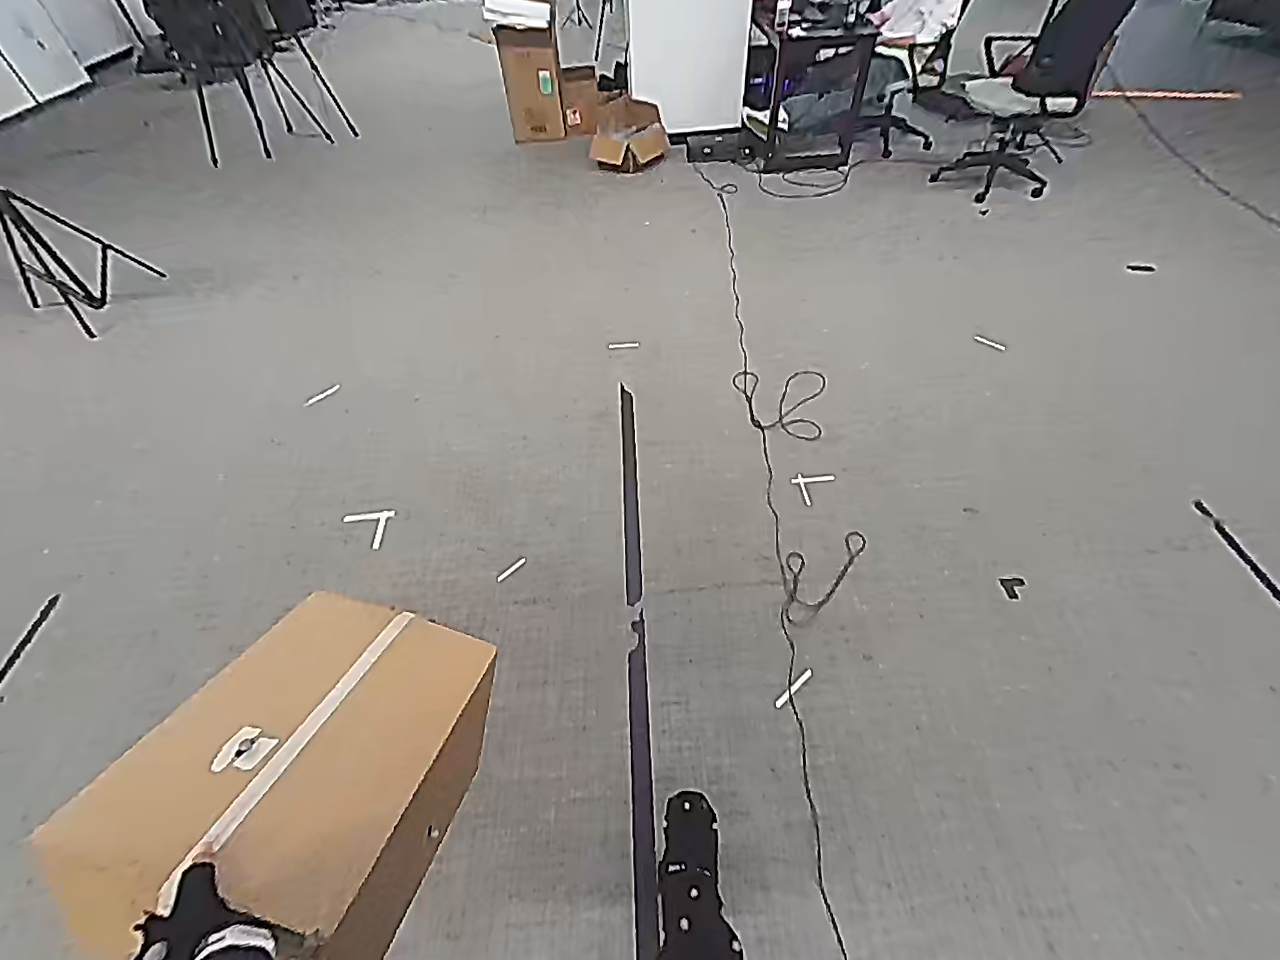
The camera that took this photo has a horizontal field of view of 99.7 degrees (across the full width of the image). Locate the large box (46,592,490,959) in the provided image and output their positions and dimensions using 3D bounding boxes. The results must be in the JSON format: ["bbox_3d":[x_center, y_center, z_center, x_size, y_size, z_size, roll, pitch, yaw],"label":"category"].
[{"bbox_3d":[-0.452,0.439,0.773,0.320,0.320,0.408,17,29,2],"label":"large box"}]
